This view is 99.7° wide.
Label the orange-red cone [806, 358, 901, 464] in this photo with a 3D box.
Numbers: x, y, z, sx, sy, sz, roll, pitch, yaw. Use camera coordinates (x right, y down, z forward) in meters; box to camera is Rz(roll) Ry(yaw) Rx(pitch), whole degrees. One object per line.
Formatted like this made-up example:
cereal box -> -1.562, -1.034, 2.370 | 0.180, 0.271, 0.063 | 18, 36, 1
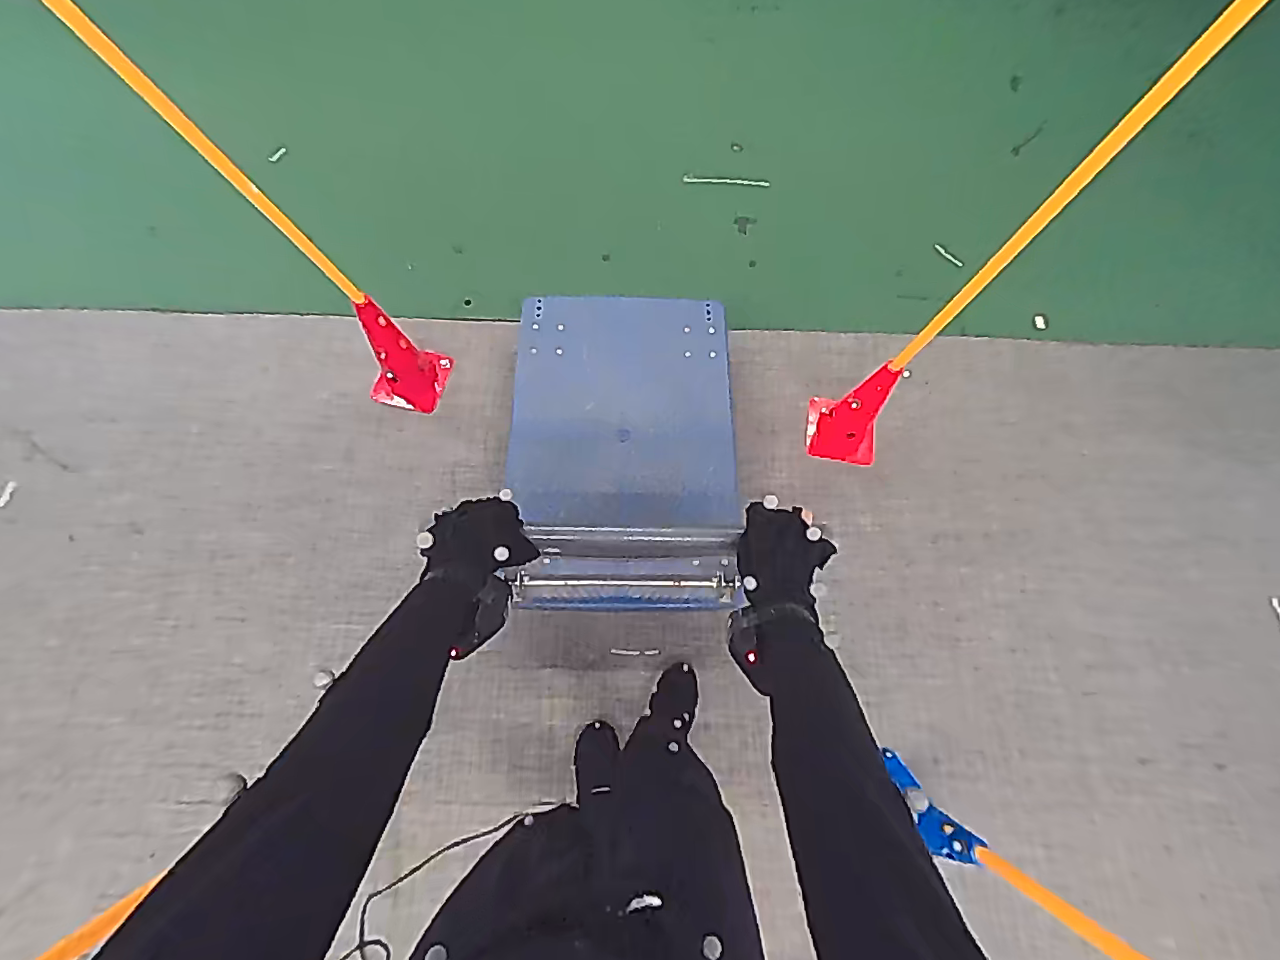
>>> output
orange-red cone -> 0.601, -0.211, 1.446 | 0.198, 0.360, 0.199 | 12, 70, 3
